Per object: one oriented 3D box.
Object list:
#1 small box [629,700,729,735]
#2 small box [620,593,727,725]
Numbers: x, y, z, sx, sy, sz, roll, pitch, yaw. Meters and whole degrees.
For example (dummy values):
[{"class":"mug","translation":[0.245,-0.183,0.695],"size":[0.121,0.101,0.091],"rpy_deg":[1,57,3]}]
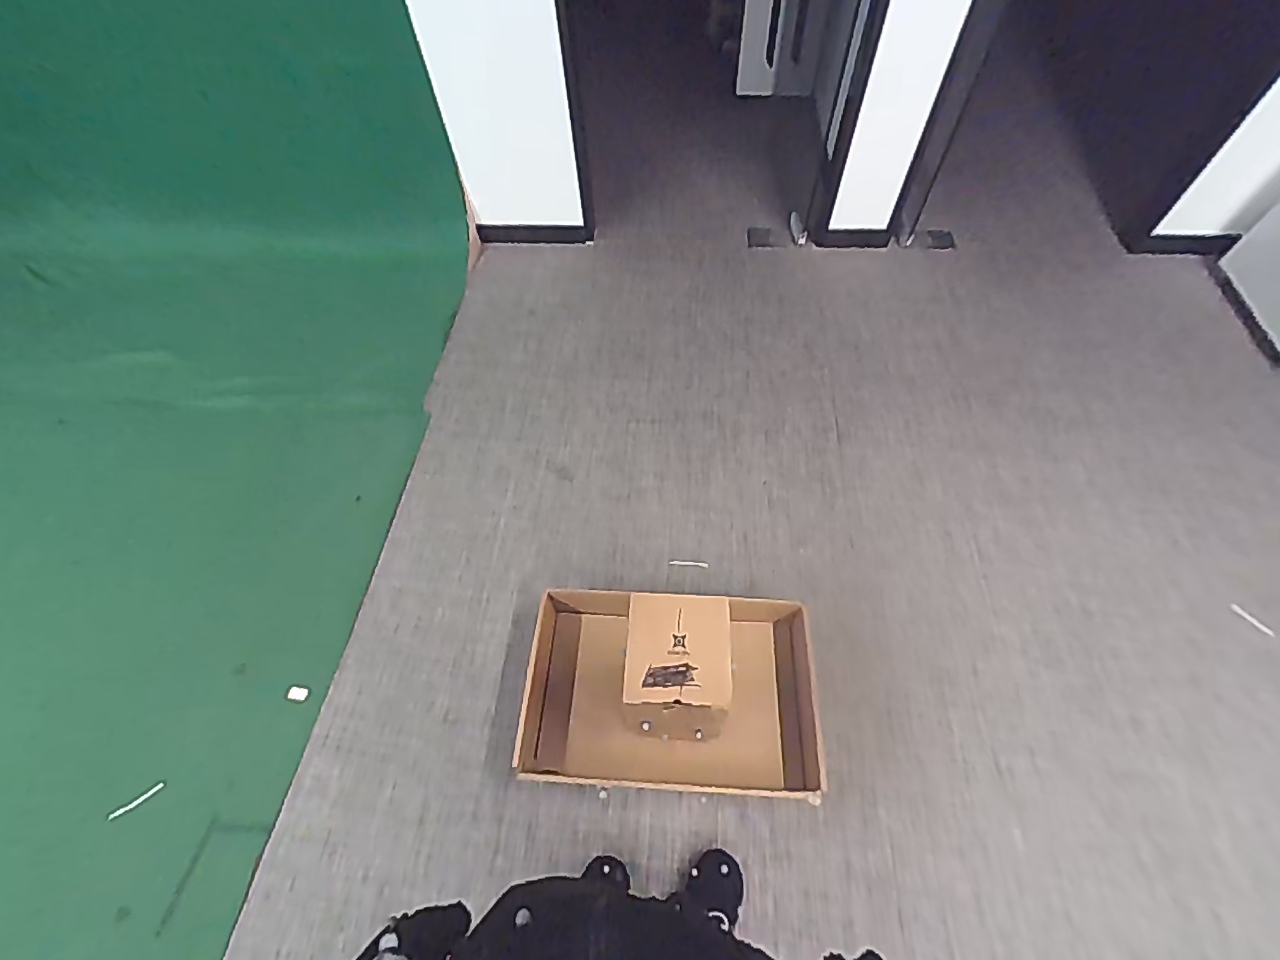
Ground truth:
[{"class":"small box","translation":[0.070,0.391,1.045],"size":[0.179,0.176,0.168],"rpy_deg":[-1,57,2]},{"class":"small box","translation":[0.060,0.309,0.922],"size":[0.168,0.176,0.179],"rpy_deg":[2,56,4]}]
